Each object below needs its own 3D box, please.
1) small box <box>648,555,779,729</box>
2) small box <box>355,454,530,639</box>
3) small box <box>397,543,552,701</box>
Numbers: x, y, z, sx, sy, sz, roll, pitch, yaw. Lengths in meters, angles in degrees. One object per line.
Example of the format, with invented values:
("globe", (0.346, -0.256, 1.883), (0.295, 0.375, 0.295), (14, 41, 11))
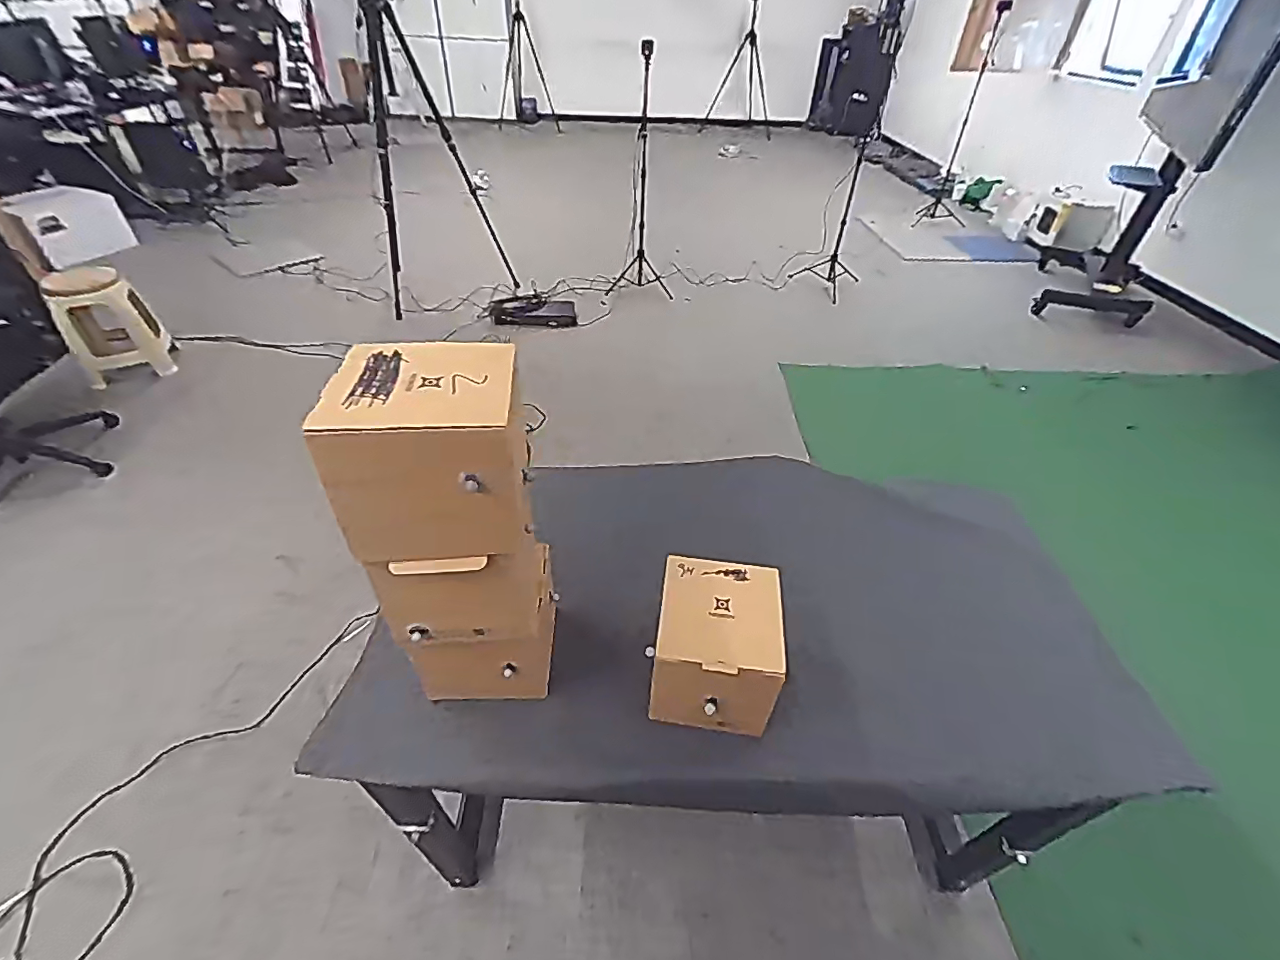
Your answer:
("small box", (0.103, 0.236, 0.785), (0.168, 0.176, 0.179), (6, 42, 5))
("small box", (-0.234, 0.088, 0.694), (0.168, 0.176, 0.179), (-3, 40, -6))
("small box", (-0.228, 0.211, 0.804), (0.179, 0.176, 0.168), (-1, 40, -2))
